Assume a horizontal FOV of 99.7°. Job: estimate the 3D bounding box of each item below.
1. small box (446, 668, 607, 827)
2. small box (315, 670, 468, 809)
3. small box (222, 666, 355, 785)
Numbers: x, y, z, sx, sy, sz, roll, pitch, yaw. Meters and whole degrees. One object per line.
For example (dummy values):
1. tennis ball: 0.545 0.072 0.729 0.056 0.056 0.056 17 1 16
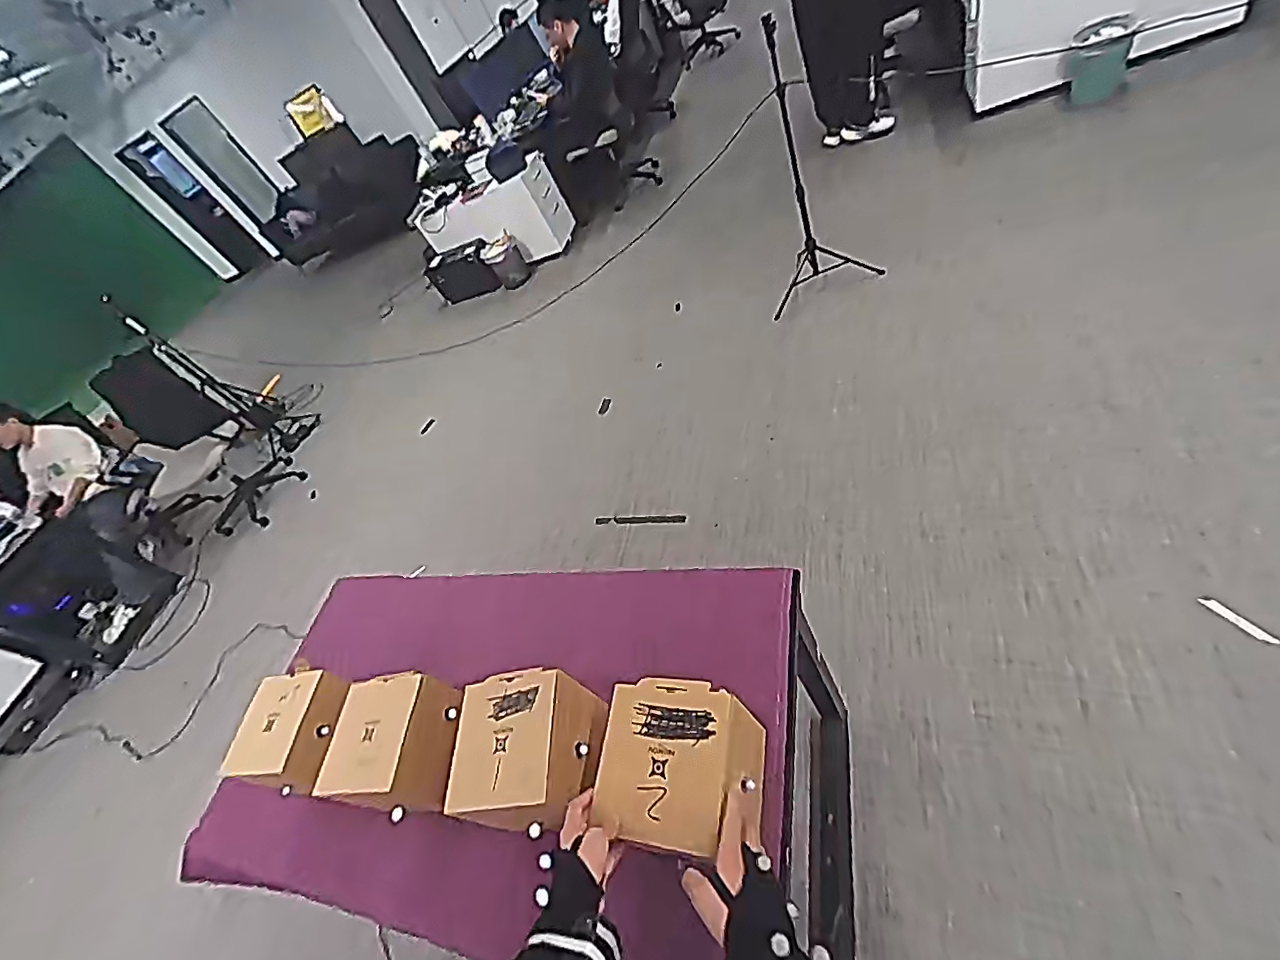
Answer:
1. small box: -0.159 0.410 0.821 0.168 0.176 0.179 -16 48 18
2. small box: -0.400 0.448 0.929 0.168 0.176 0.179 -14 47 21
3. small box: -0.628 0.476 1.035 0.168 0.176 0.179 -12 48 20
